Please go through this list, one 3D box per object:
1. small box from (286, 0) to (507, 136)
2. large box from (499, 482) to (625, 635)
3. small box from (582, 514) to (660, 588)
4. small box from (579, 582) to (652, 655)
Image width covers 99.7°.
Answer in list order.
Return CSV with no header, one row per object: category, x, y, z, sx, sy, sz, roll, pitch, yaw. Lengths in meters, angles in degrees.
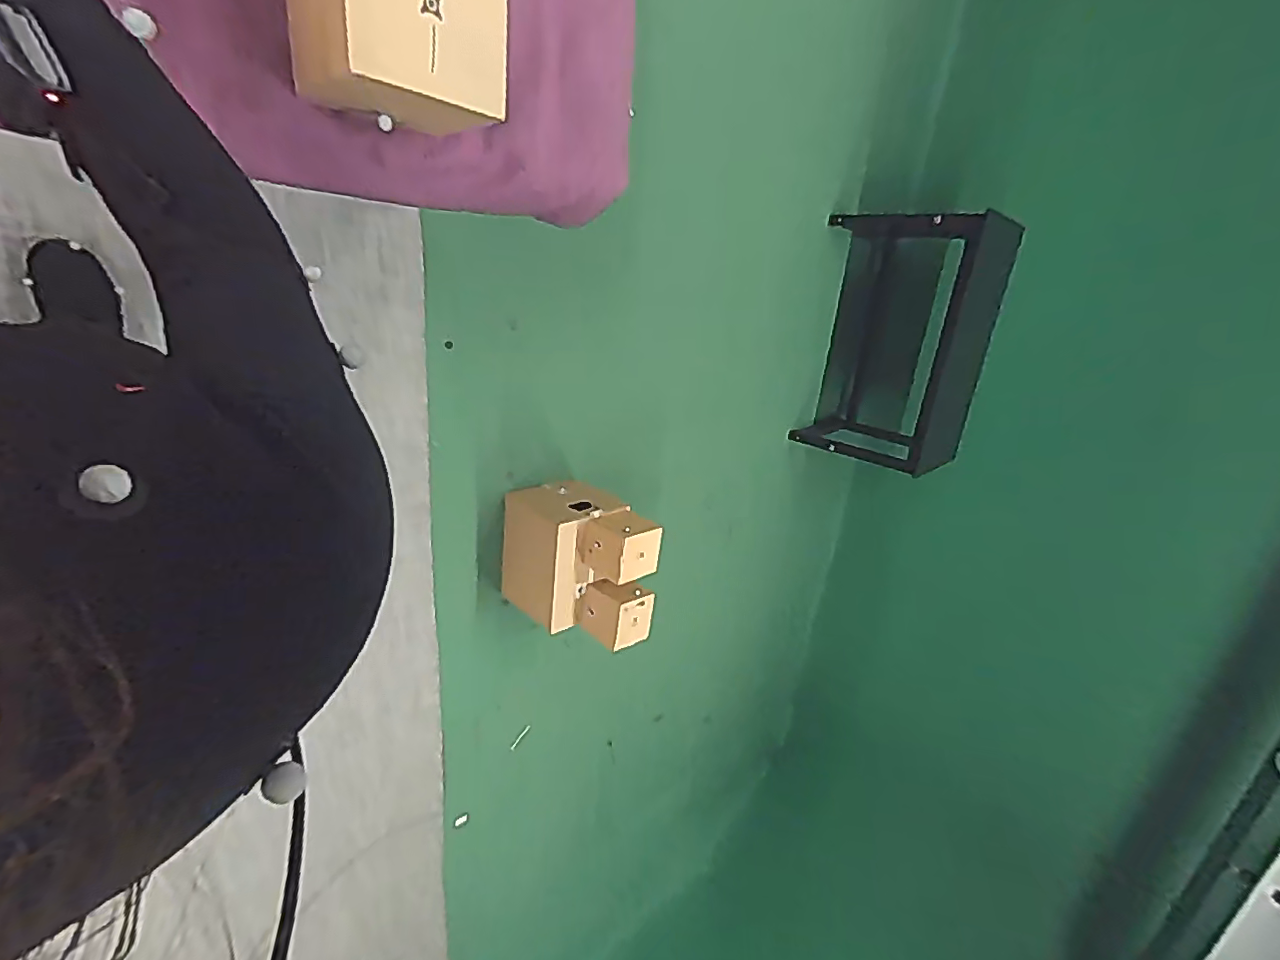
small box,-0.256,-0.487,0.566,0.168,0.176,0.179,-13,117,-44
large box,-0.283,0.258,1.911,0.320,0.320,0.408,-12,117,-44
small box,-0.064,0.224,1.758,0.179,0.176,0.168,-12,116,-45
small box,-0.088,0.458,1.838,0.168,0.176,0.179,-6,111,-47
